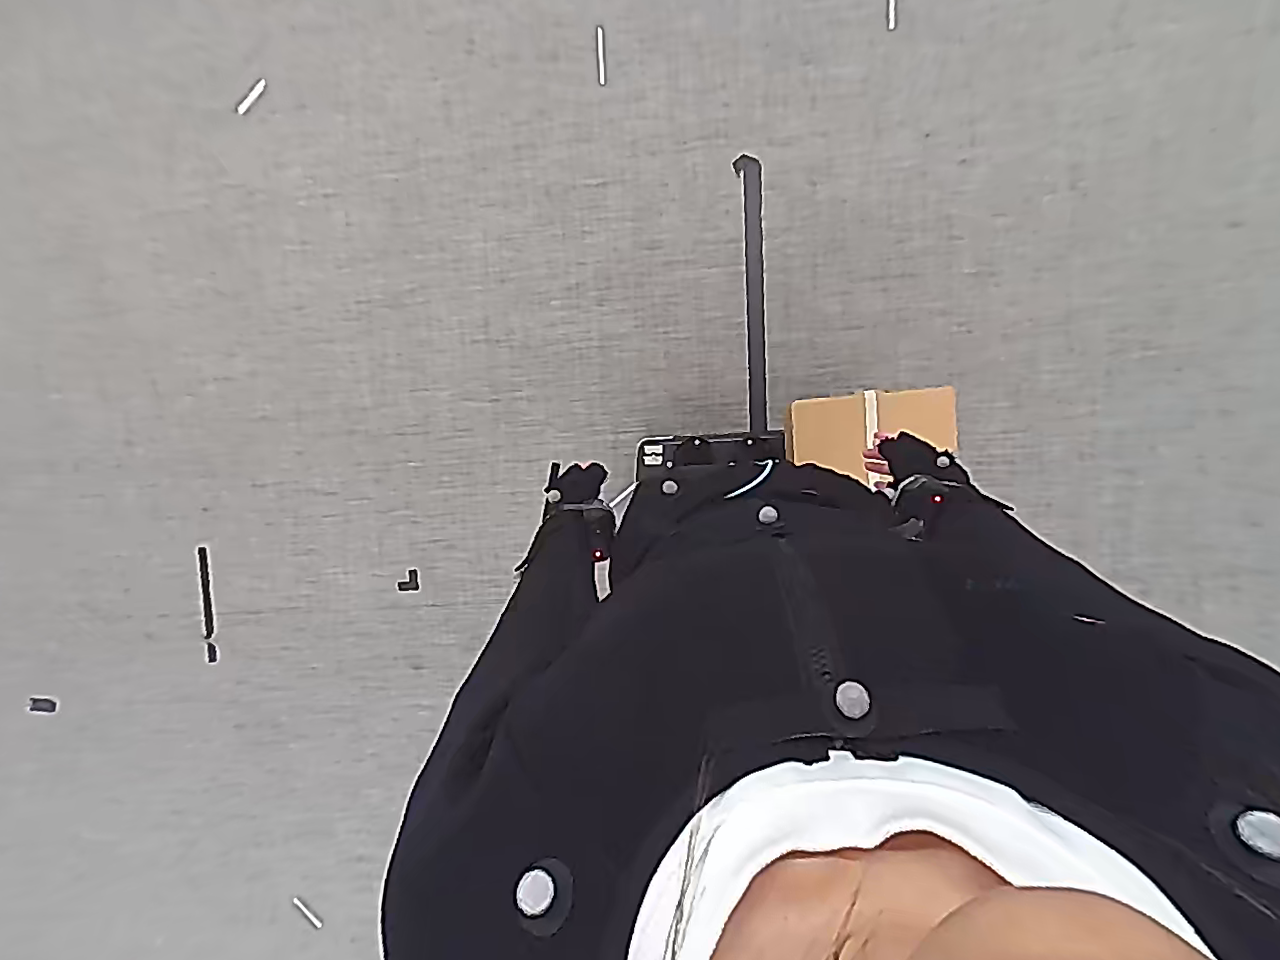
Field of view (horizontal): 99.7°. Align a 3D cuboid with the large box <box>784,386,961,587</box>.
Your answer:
[{"bbox_3d":[0.515,0.004,1.255,0.320,0.320,0.408,-4,96,13],"label":"large box"}]
